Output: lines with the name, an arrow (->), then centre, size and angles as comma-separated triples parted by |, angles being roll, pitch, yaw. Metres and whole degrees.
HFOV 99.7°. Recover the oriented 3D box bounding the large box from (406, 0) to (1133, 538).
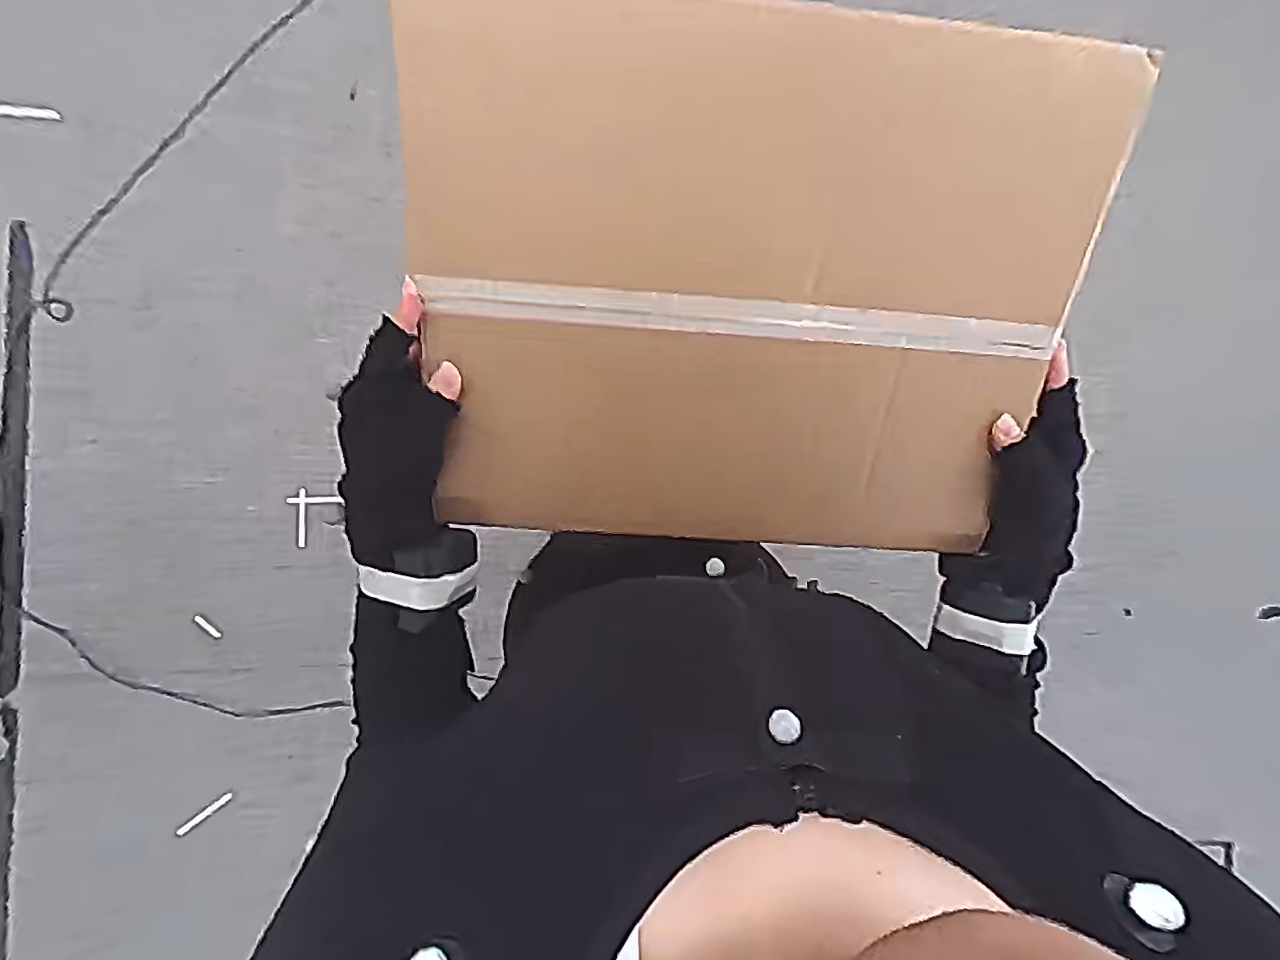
large box -> 0.059, -0.164, 0.481 | 0.408, 0.320, 0.320 | 4, 114, -4
